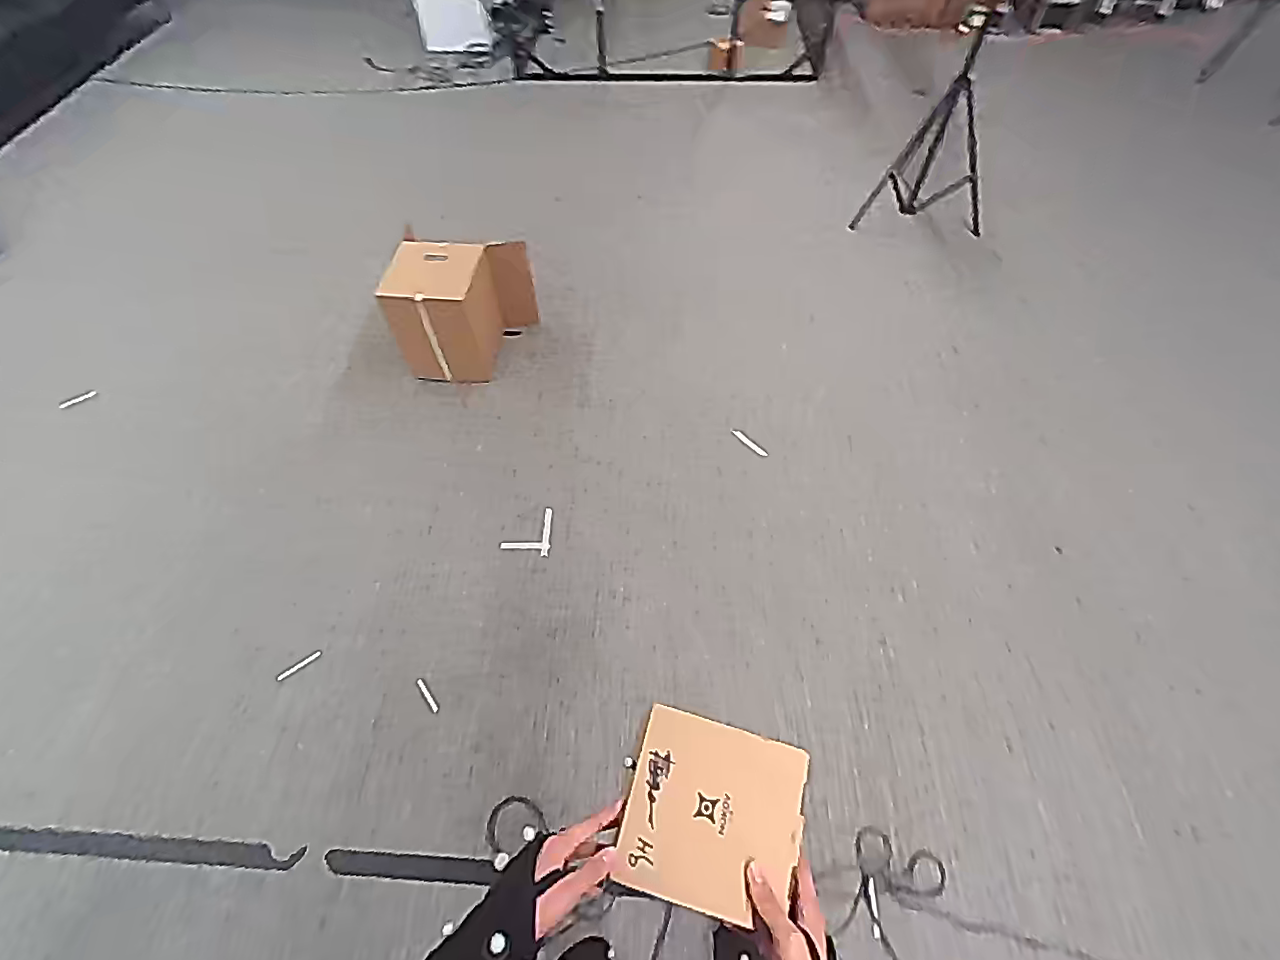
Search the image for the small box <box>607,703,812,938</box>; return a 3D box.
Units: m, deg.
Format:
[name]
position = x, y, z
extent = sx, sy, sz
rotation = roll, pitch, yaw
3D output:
[small box]
position = 0.070, 0.366, 0.612
extent = 0.179, 0.176, 0.168
rotation = 17, 64, 3
